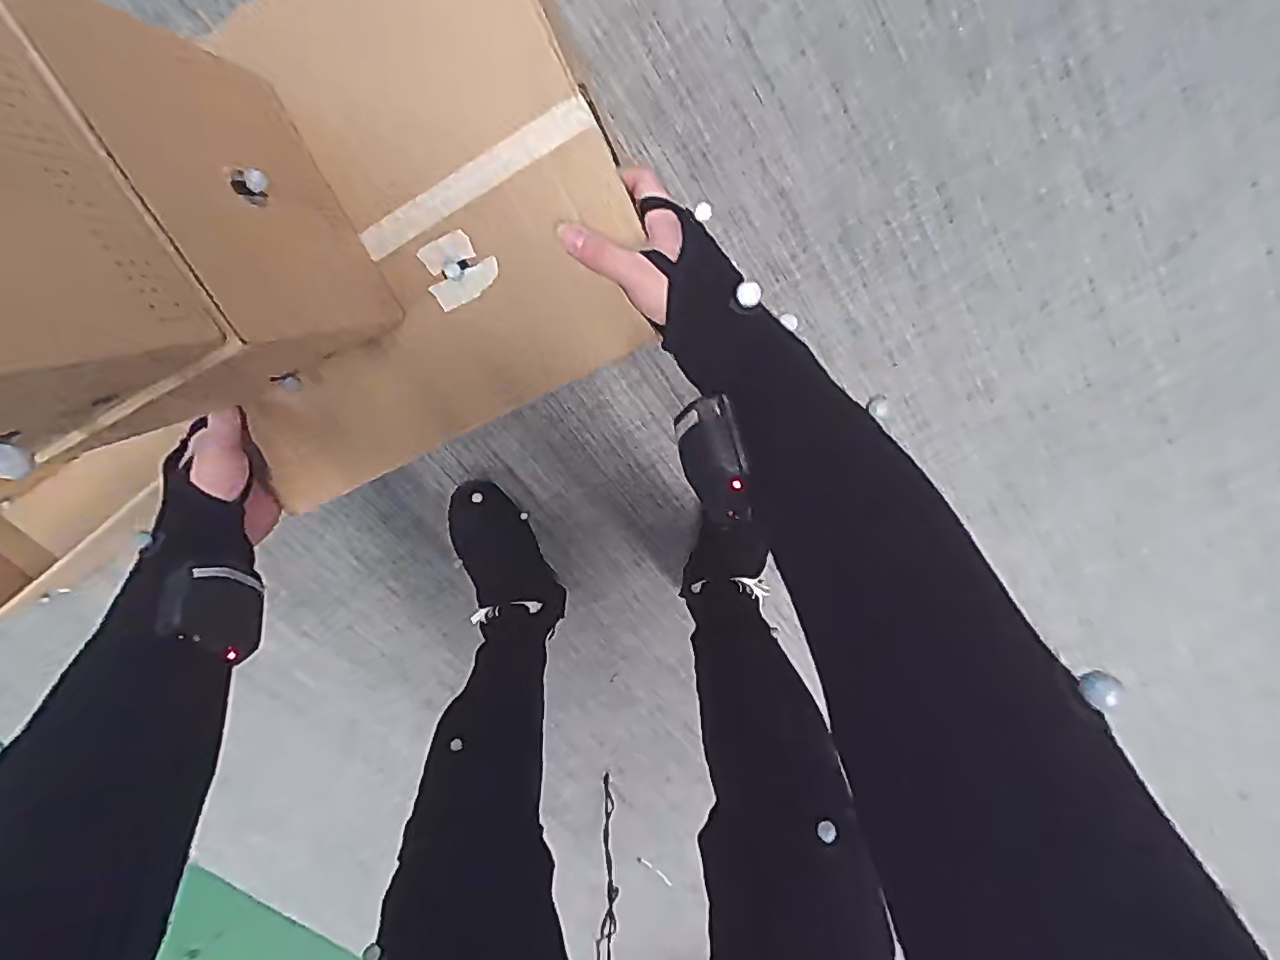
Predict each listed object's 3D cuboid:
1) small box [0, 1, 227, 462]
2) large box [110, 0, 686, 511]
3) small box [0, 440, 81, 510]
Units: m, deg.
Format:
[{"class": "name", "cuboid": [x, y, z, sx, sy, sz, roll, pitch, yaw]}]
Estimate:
[{"class": "small box", "cuboid": [-0.310, -0.085, 0.183, 0.168, 0.176, 0.179, -22, 108, 13]}, {"class": "large box", "cuboid": [-0.197, -0.228, 0.558, 0.408, 0.320, 0.320, -24, 108, 12]}, {"class": "small box", "cuboid": [-0.949, -0.034, 0.729, 0.168, 0.176, 0.179, -28, 112, 12]}]
